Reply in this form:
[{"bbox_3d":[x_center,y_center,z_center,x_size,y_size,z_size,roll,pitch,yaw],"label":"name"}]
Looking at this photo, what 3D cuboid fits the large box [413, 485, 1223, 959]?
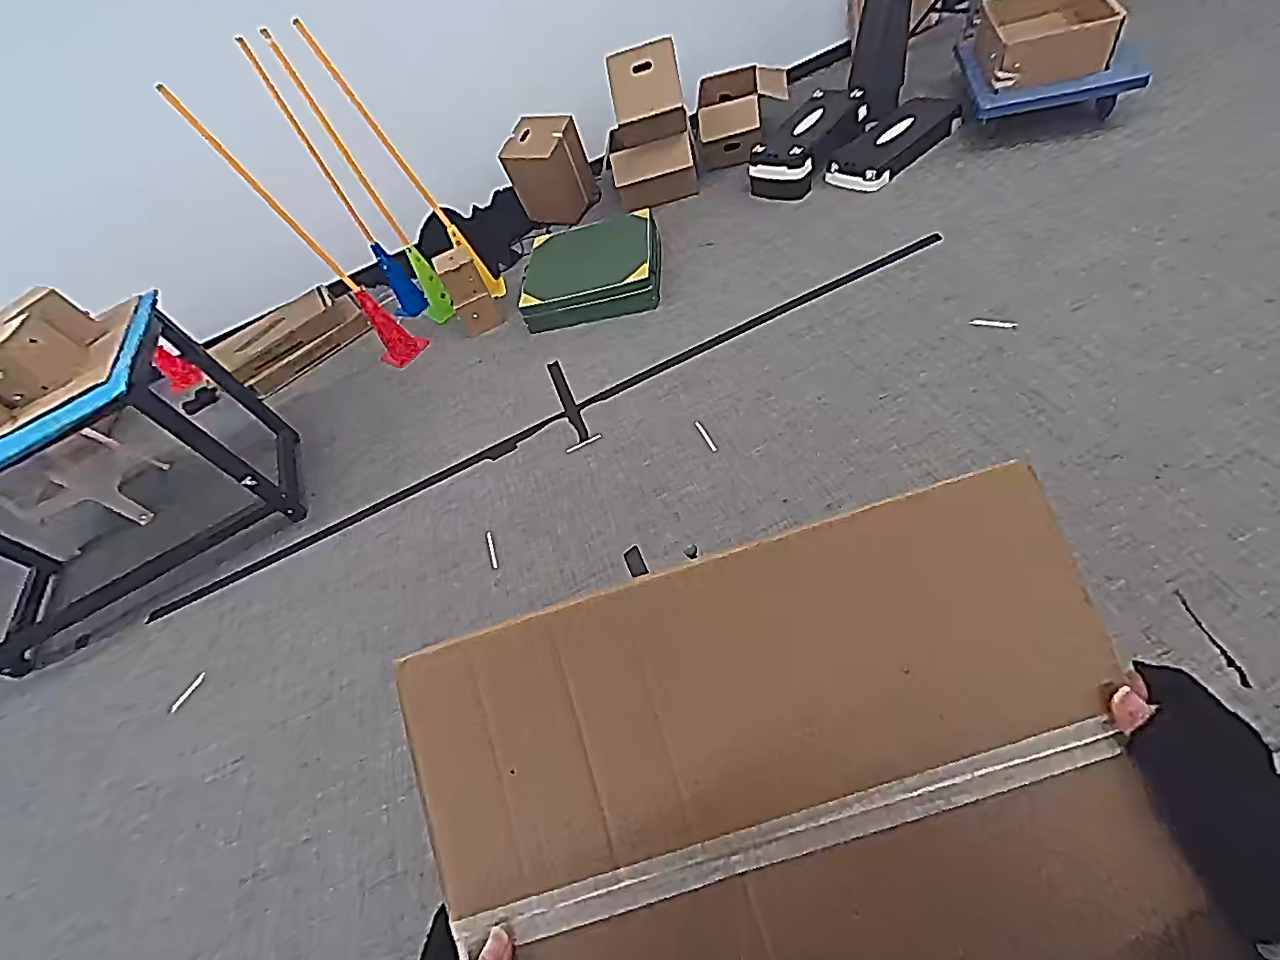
[{"bbox_3d":[0.100,0.228,0.462,0.408,0.320,0.320,-19,80,1],"label":"large box"}]
